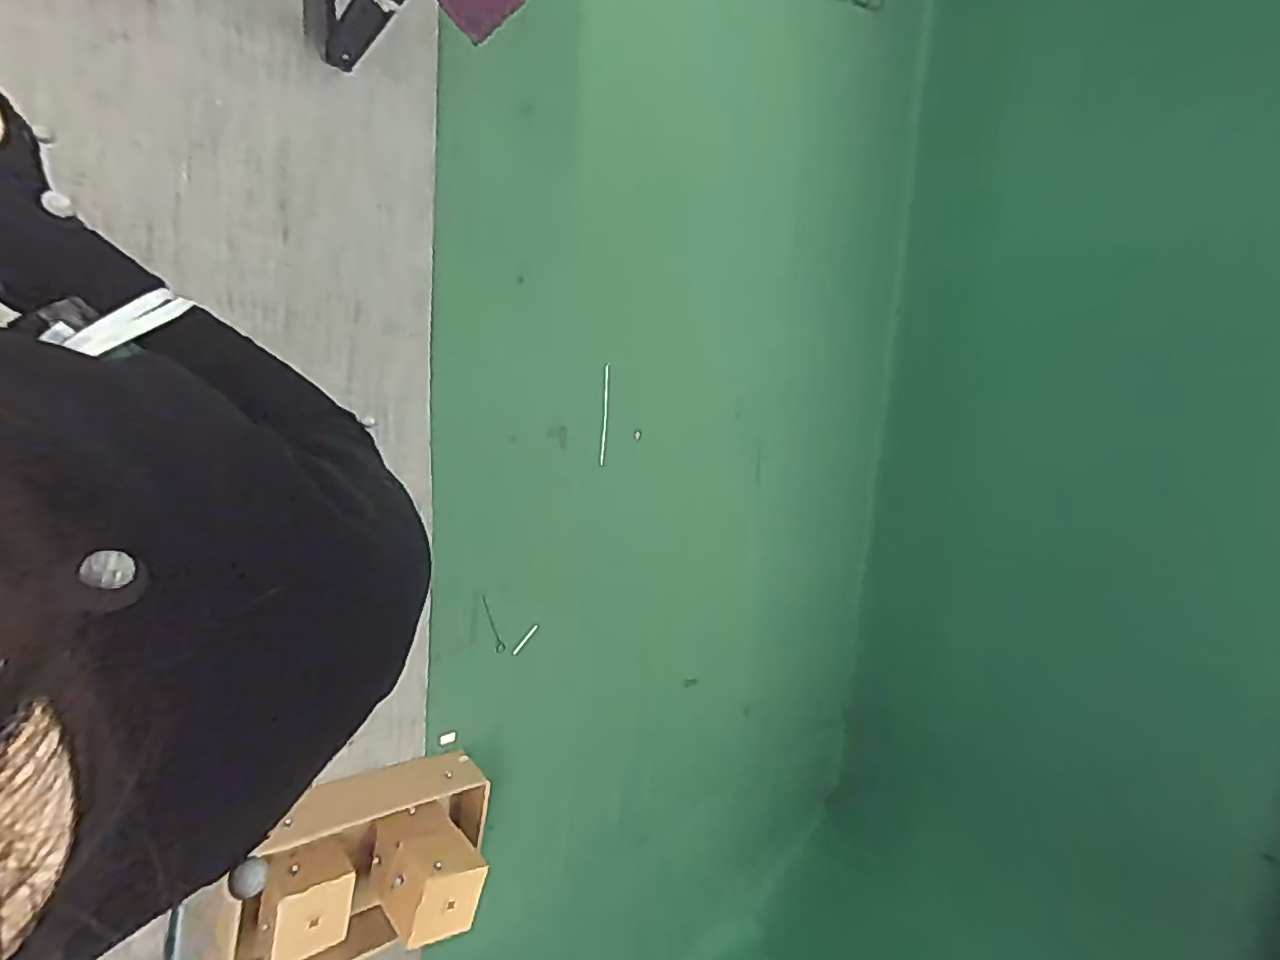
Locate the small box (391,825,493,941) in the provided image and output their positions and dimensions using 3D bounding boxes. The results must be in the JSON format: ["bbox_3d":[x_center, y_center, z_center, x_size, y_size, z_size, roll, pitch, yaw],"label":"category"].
[{"bbox_3d":[-0.523,1.045,1.423,0.179,0.176,0.168,21,83,-42],"label":"small box"}]
